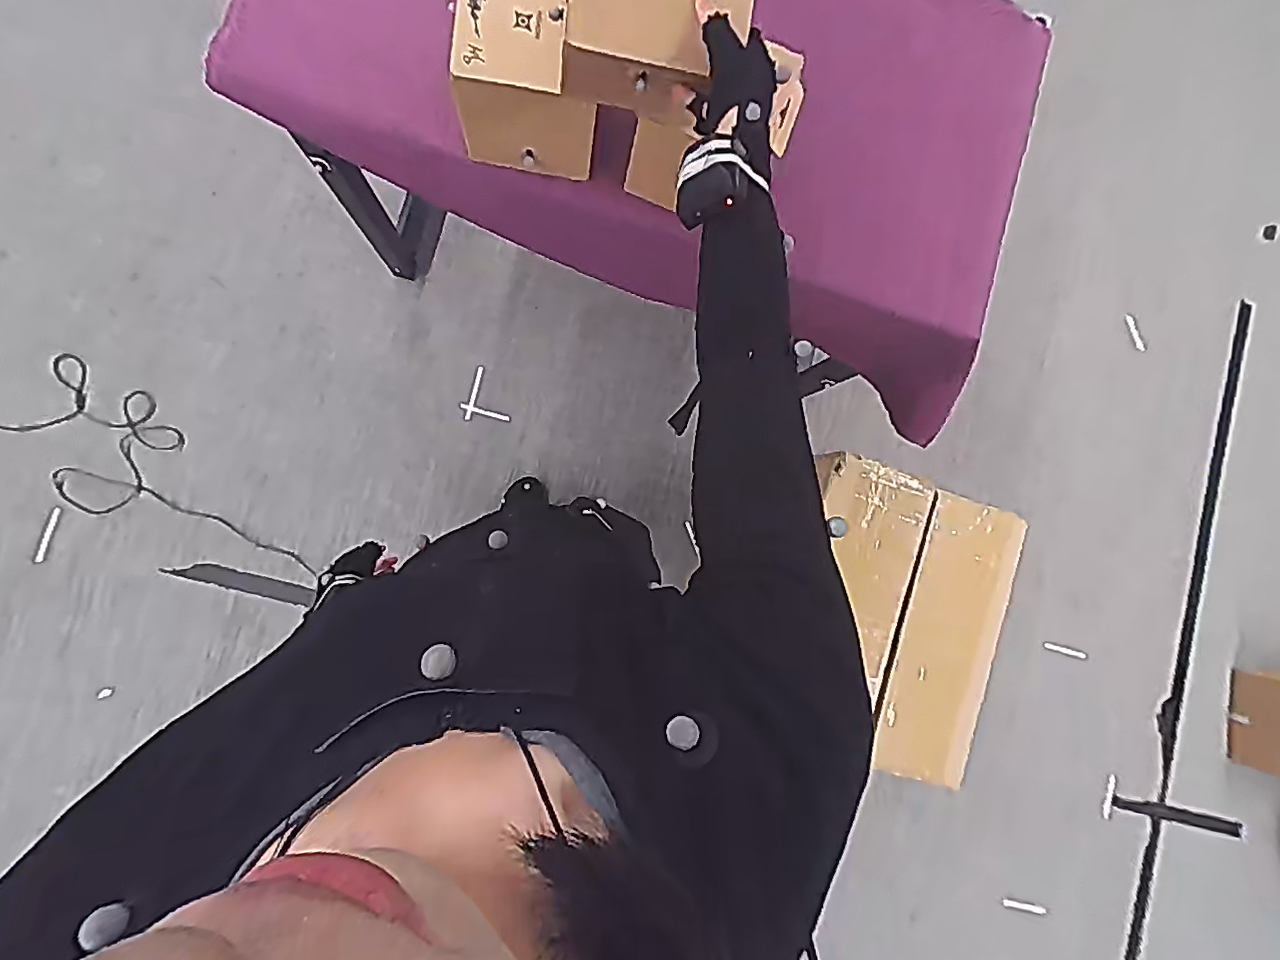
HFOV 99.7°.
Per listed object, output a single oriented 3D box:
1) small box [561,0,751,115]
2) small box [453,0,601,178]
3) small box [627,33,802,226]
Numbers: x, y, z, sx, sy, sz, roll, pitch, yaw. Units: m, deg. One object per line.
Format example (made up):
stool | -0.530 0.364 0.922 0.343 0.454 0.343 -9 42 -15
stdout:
small box | 0.011 -0.504 0.560 0.179 0.176 0.168 3 111 -11
small box | -0.143 -0.543 0.732 0.179 0.176 0.168 5 86 -10
small box | 0.094 -0.494 0.765 0.179 0.176 0.168 20 84 -6
